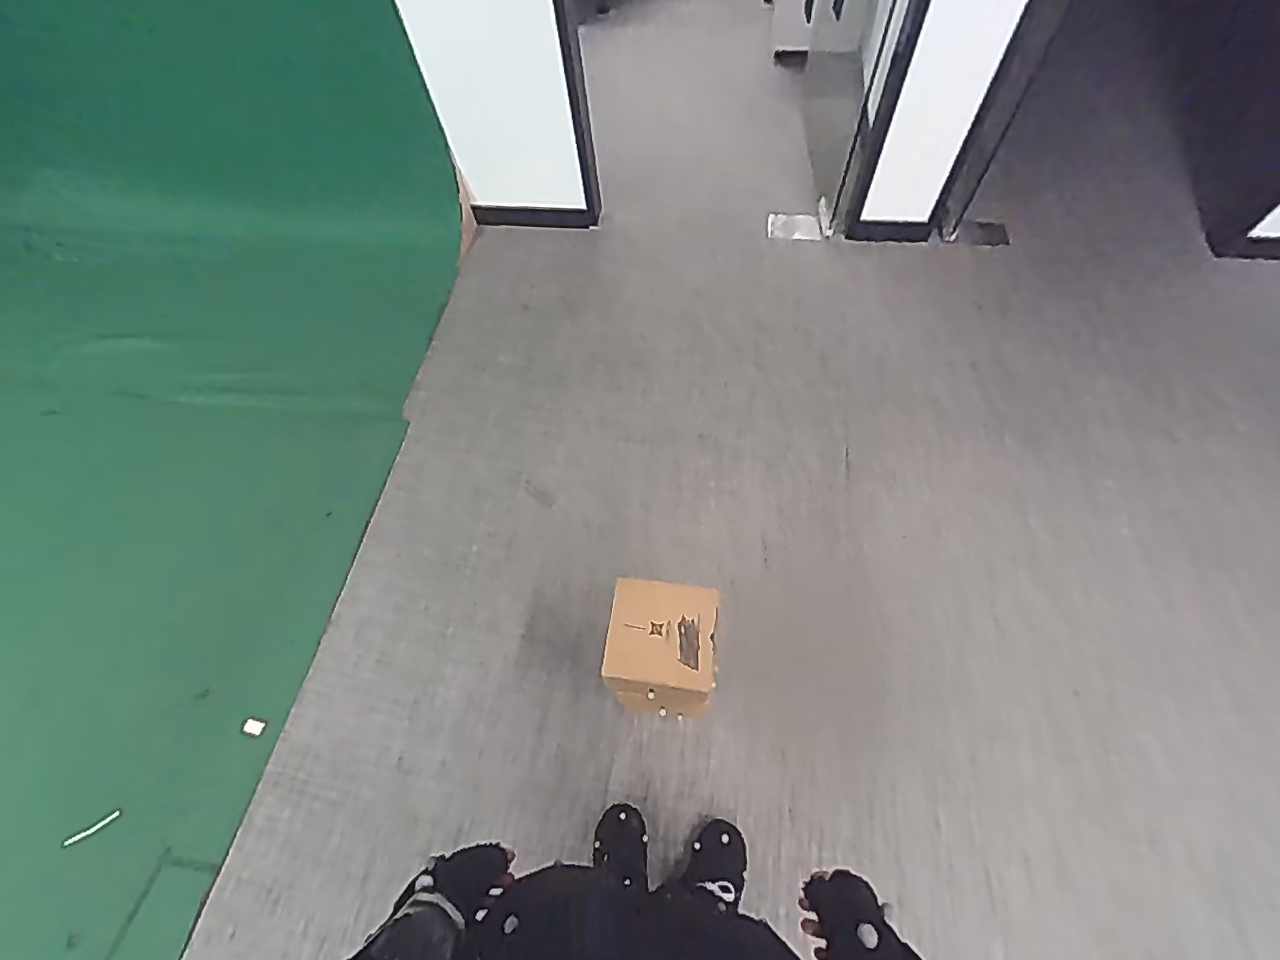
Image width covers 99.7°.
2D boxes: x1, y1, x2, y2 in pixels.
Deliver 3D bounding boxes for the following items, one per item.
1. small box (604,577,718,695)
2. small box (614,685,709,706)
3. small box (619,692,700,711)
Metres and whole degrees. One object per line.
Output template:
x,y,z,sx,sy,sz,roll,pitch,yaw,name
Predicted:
0.041,0.280,0.953,0.179,0.176,0.168,4,63,5,small box
0.053,0.358,1.098,0.179,0.176,0.168,6,63,7,small box
0.059,0.429,1.245,0.179,0.176,0.168,5,62,8,small box
